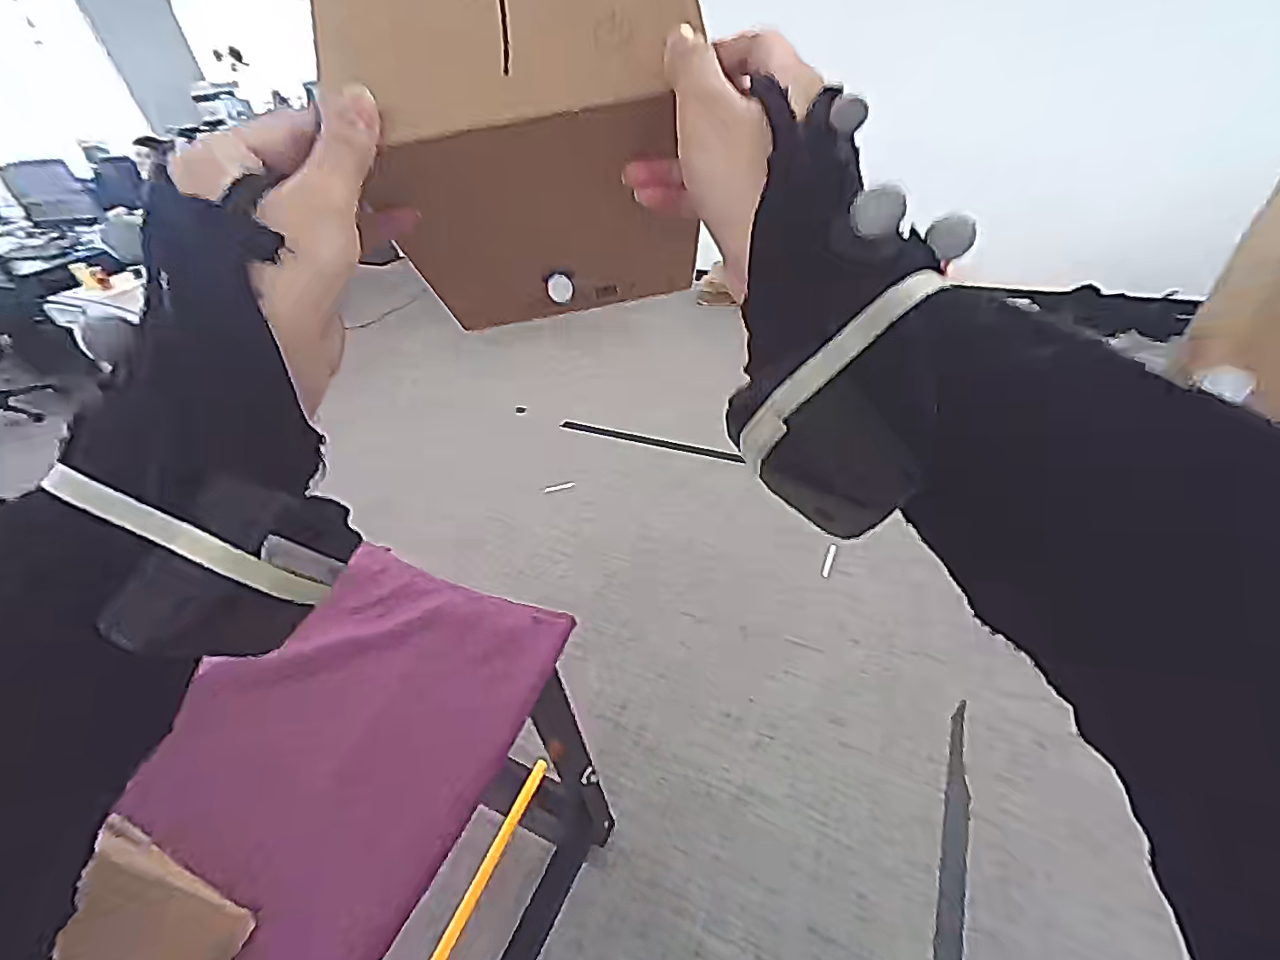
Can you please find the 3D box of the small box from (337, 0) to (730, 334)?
[{"bbox_3d":[-0.053,-0.213,0.322,0.168,0.176,0.179,-11,80,1],"label":"small box"}]
